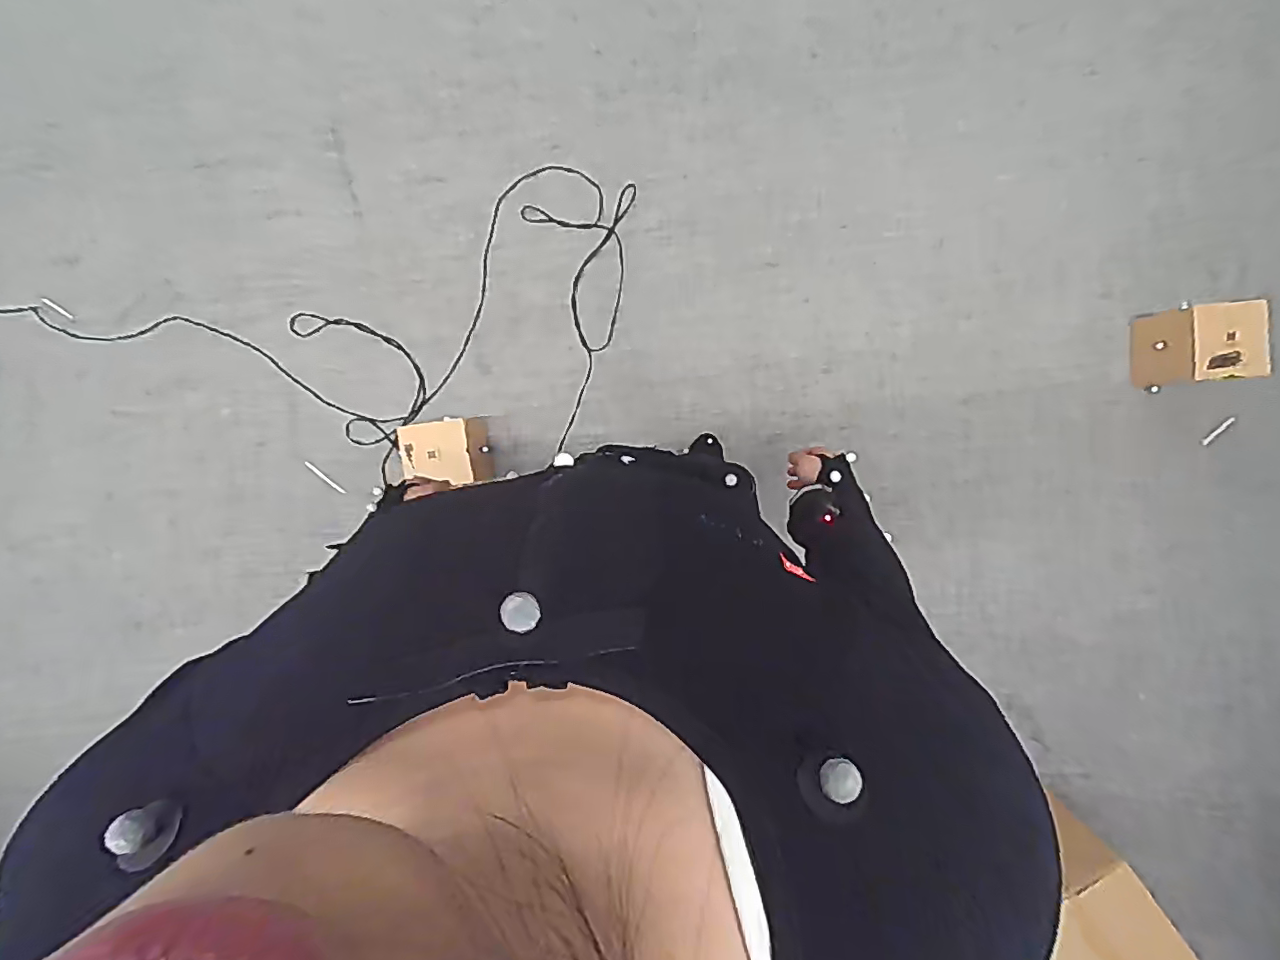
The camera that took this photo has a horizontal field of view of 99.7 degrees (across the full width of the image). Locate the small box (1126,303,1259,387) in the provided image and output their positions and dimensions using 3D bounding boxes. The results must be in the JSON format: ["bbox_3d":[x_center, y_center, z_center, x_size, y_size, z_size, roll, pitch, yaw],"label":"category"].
[{"bbox_3d":[1.354,-0.326,1.337,0.168,0.176,0.179,-4,94,3],"label":"small box"}]

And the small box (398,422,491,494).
[{"bbox_3d":[-0.502,-0.061,1.420,0.179,0.176,0.168,-8,94,2],"label":"small box"}]
